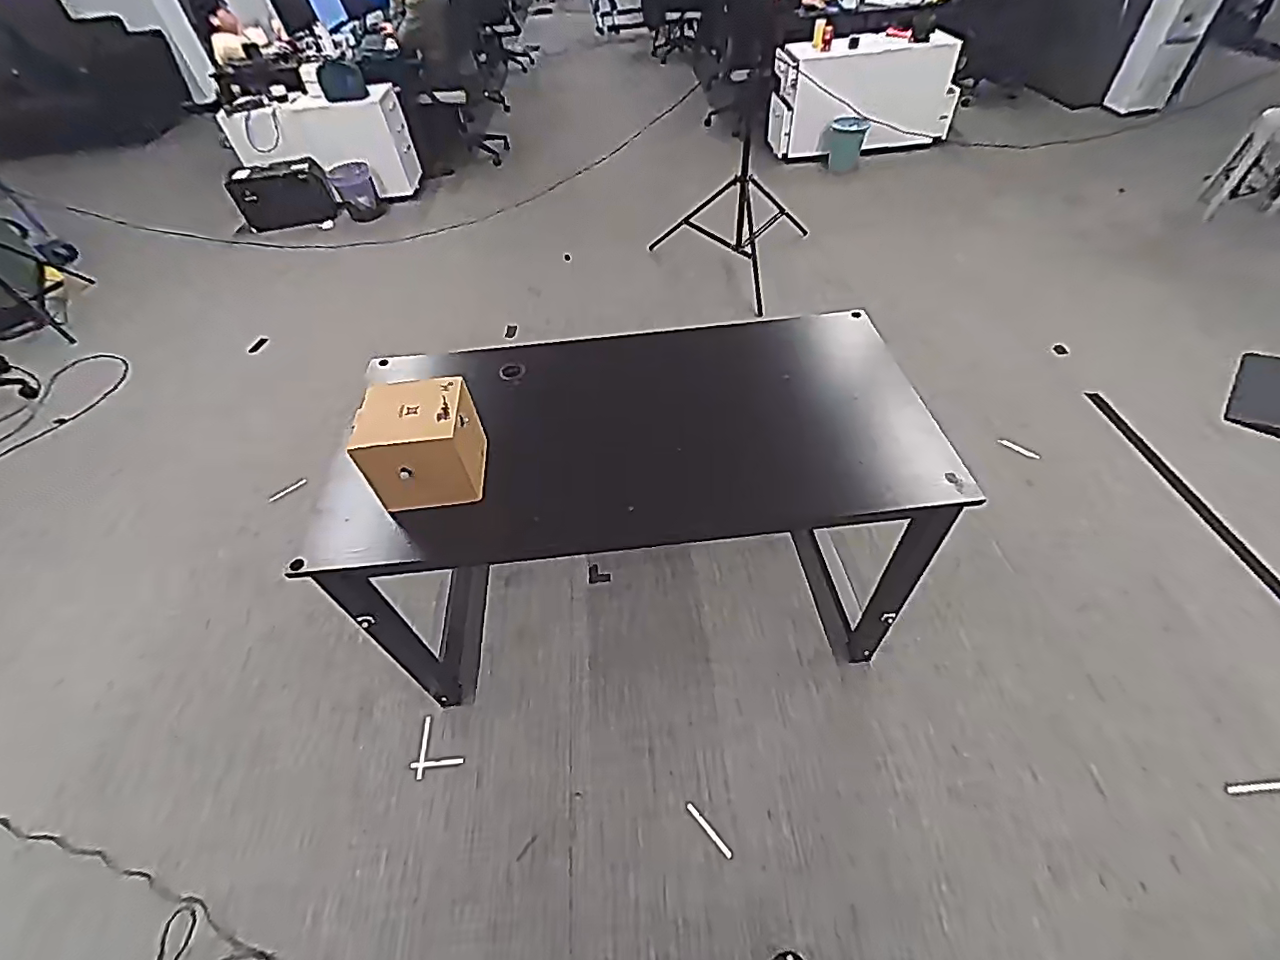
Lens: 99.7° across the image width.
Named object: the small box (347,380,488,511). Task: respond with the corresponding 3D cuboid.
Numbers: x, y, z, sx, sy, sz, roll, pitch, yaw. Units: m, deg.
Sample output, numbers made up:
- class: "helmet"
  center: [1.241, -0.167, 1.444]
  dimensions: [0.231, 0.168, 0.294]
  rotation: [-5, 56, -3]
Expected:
- class: "small box"
  center: [-0.396, -0.059, 0.994]
  dimensions: [0.179, 0.176, 0.168]
  rotation: [-8, 49, -1]
